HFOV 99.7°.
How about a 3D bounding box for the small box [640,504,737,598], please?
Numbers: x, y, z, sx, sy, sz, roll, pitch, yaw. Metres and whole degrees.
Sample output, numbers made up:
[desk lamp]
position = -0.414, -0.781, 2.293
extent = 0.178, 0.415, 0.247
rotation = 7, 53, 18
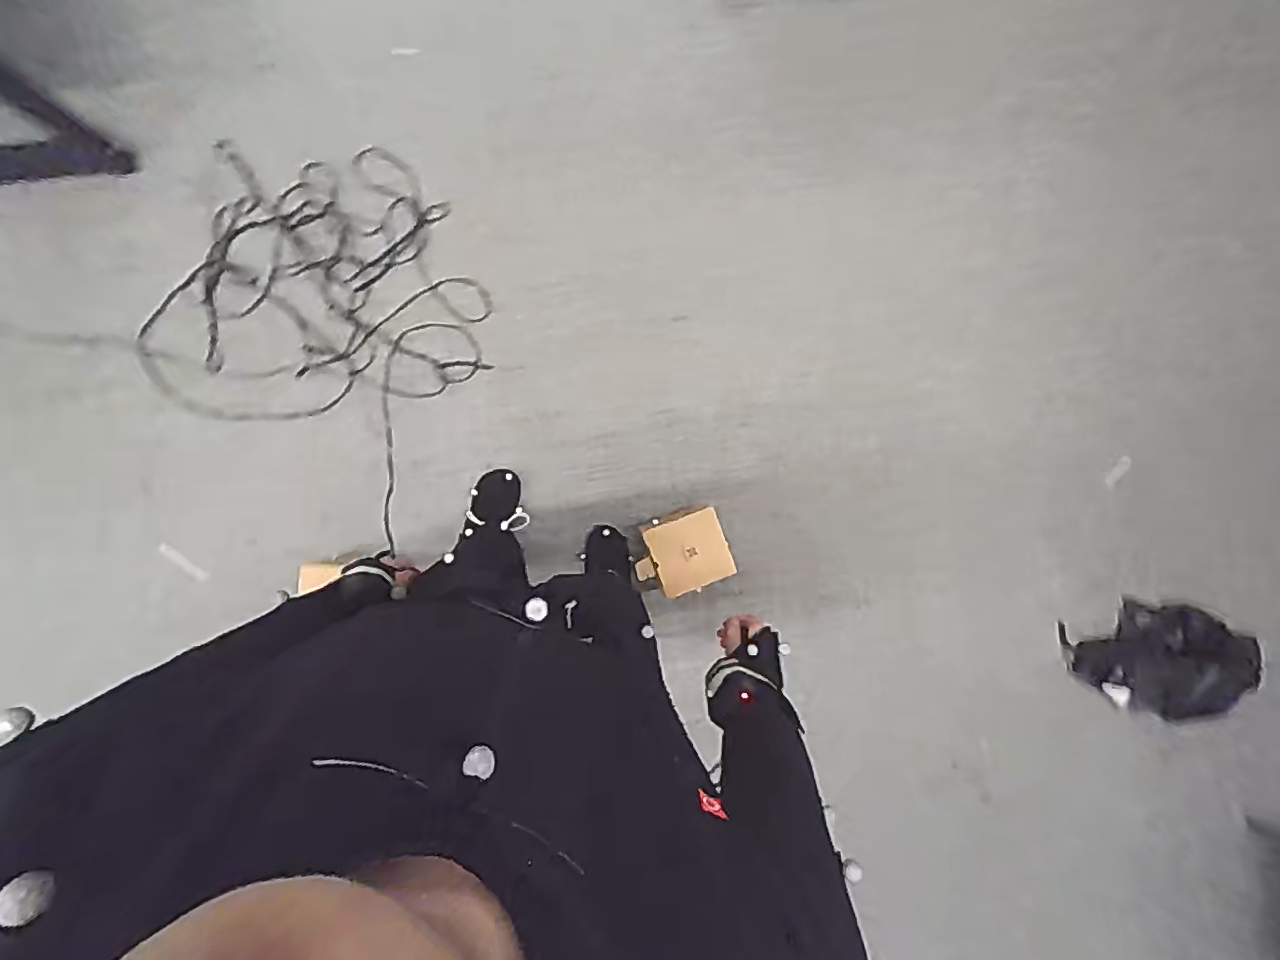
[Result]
[small box]
position = 0.109, 0.162, 1.308
extent = 0.179, 0.176, 0.168
rotation = -21, 91, -3
